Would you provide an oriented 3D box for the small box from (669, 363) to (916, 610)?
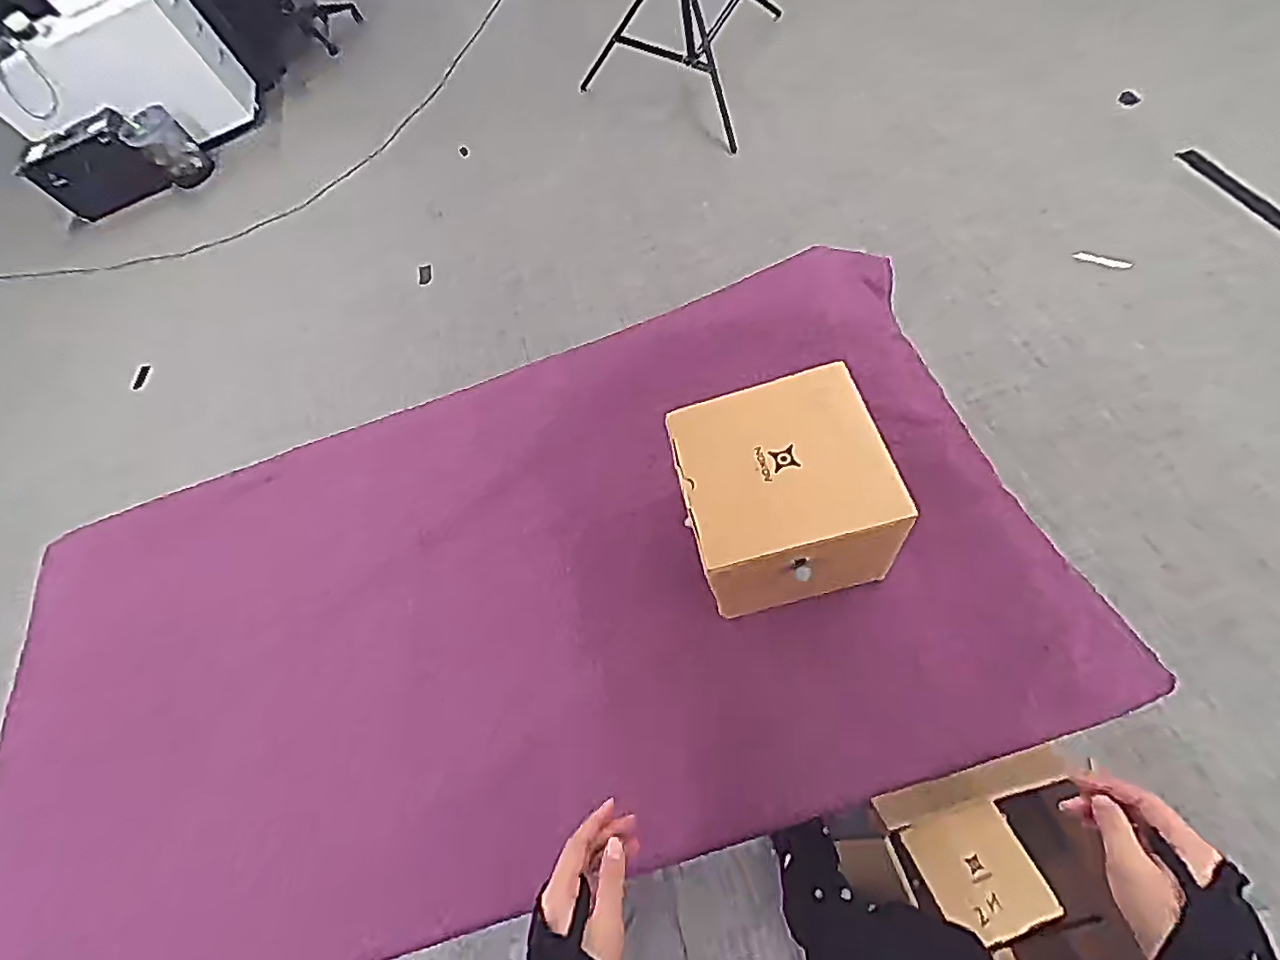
[{"bbox_3d":[0.142,0.017,0.544,0.179,0.176,0.168,-16,60,7],"label":"small box"}]
